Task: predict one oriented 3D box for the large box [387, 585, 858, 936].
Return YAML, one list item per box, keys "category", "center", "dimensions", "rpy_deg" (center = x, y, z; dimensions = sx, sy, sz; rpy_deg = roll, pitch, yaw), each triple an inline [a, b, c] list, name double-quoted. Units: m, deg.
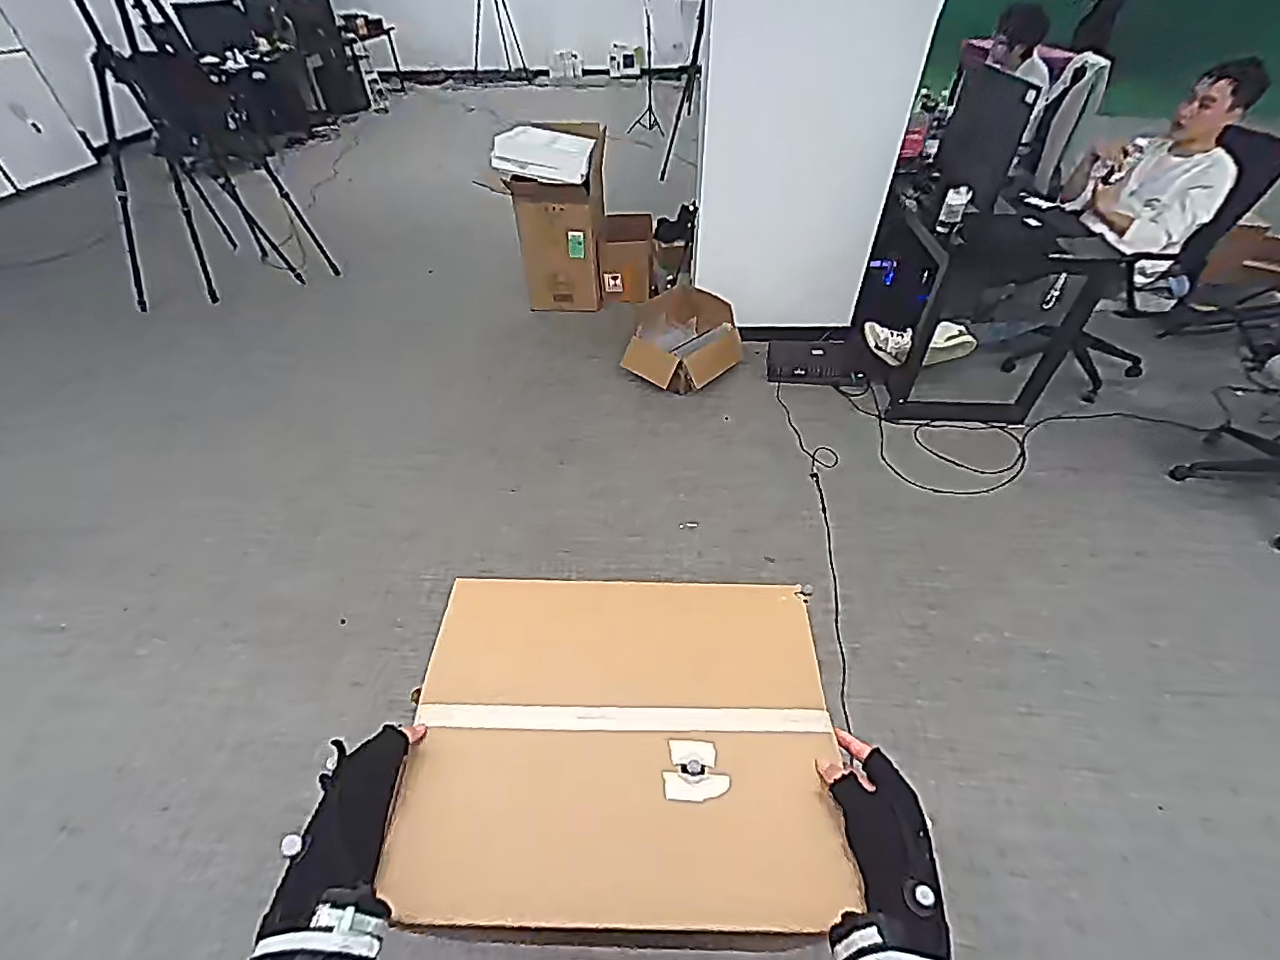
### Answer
- category: "large box"
  center: [-0.017, 0.344, 0.658]
  dimensions: [0.408, 0.320, 0.320]
  rpy_deg: [2, 48, 0]
